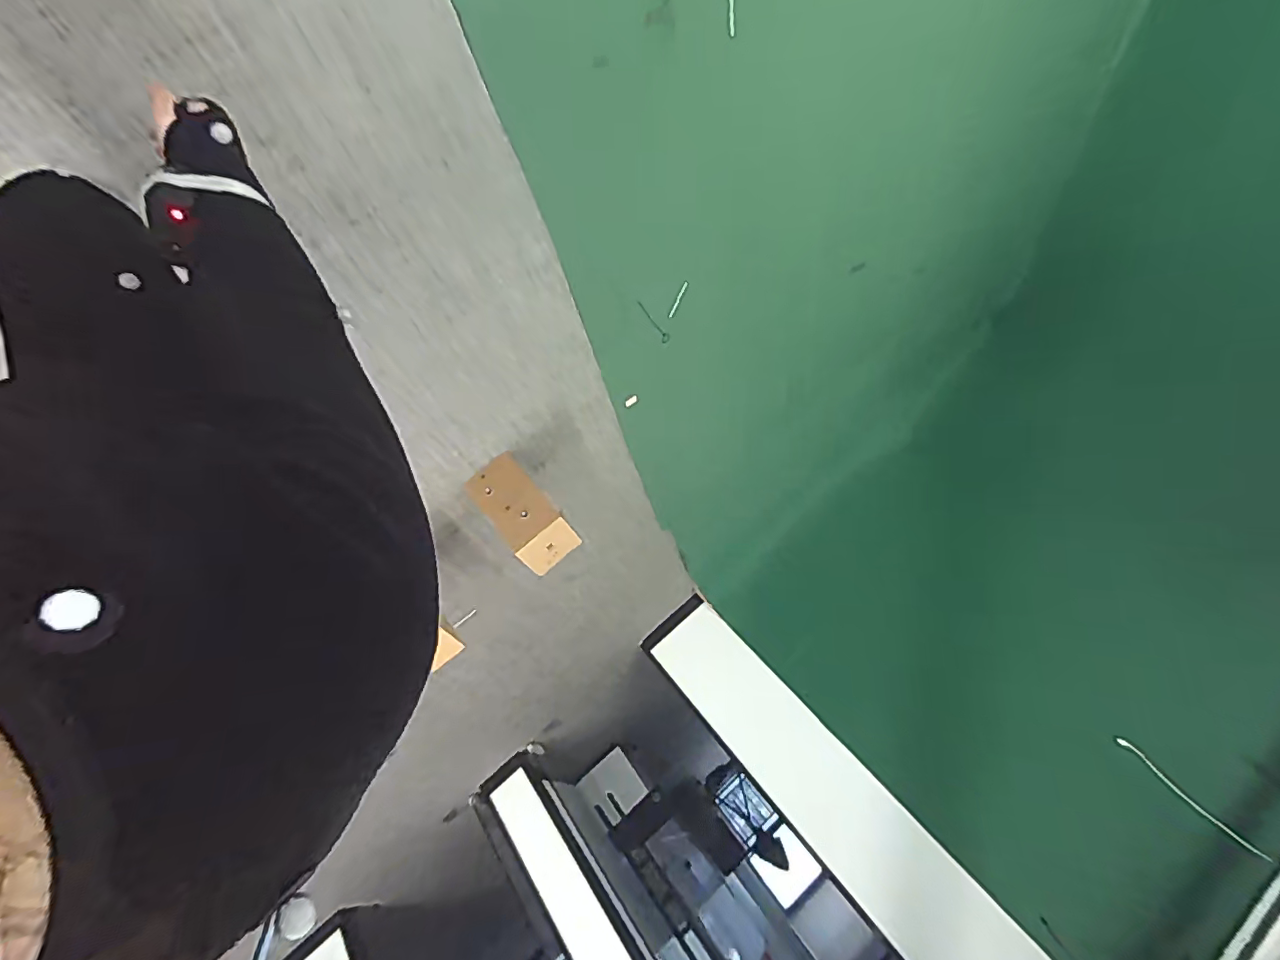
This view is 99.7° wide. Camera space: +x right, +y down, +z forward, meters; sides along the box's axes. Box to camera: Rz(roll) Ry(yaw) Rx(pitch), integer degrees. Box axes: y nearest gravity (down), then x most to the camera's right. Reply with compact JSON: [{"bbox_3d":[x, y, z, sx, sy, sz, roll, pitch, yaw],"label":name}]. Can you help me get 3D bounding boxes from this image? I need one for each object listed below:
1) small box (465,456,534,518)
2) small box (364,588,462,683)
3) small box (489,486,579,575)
[{"bbox_3d":[-0.415,0.049,1.693,0.168,0.176,0.179,-39,147,-10],"label":"small box"},{"bbox_3d":[-0.653,0.443,1.553,0.179,0.176,0.168,-36,146,-14],"label":"small box"},{"bbox_3d":[-0.316,0.143,1.602,0.168,0.176,0.179,-39,147,-8],"label":"small box"}]
